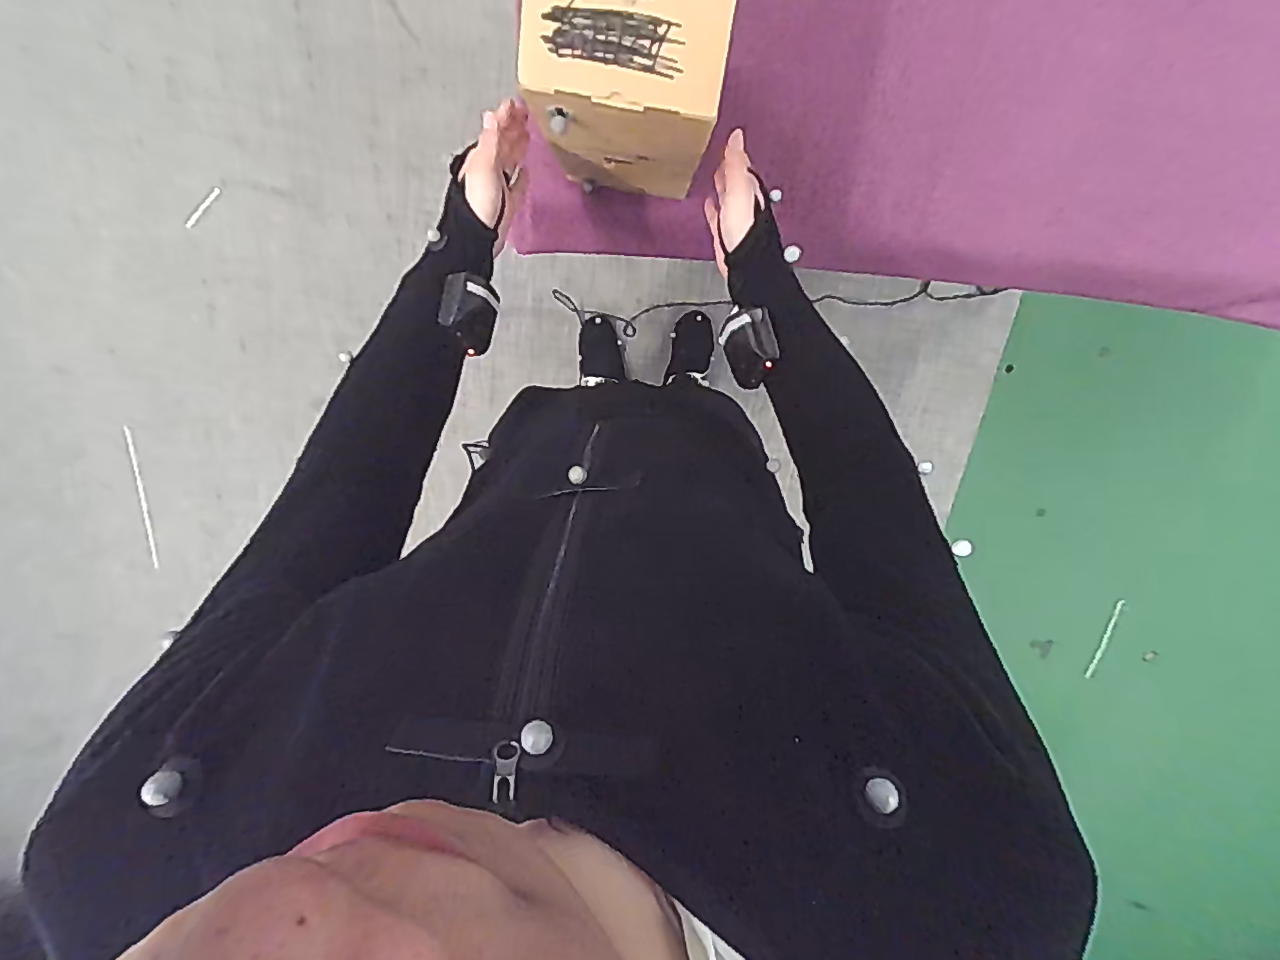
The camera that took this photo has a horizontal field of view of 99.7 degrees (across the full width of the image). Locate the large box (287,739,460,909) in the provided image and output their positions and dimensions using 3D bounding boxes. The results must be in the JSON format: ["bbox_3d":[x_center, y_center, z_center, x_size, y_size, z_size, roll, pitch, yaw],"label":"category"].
[{"bbox_3d":[-0.919,1.198,1.903,0.408,0.320,0.320,28,107,-10],"label":"large box"}]

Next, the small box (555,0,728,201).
[{"bbox_3d":[-0.002,-0.453,0.651,0.168,0.176,0.179,7,107,-3],"label":"small box"}]
